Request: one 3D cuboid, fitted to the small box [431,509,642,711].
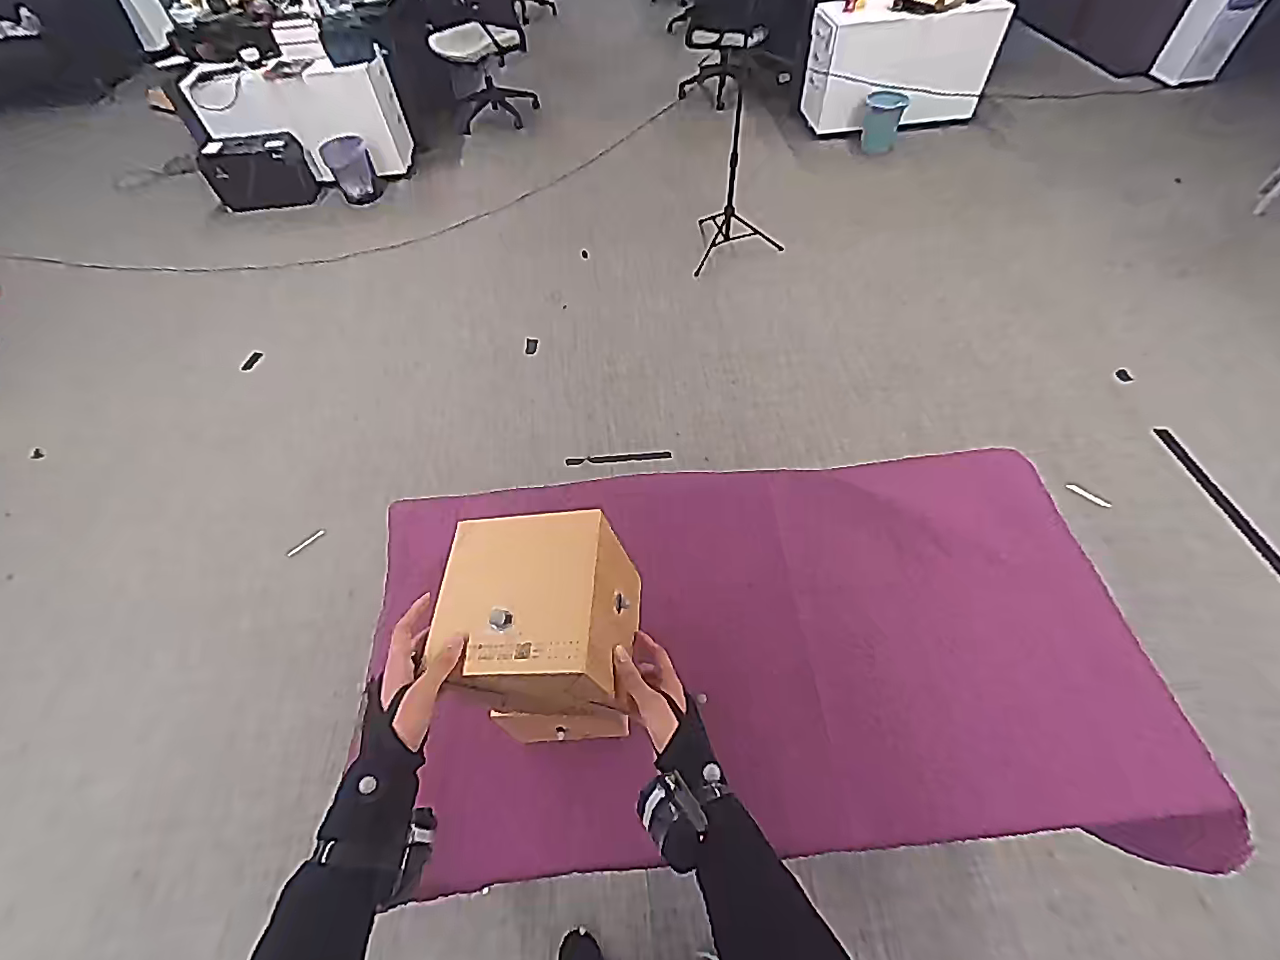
[{"bbox_3d":[-0.101,0.151,0.593,0.168,0.179,0.176,-6,56,14],"label":"small box"}]

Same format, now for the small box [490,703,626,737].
[{"bbox_3d":[-0.107,0.270,0.792,0.168,0.176,0.179,-3,54,0],"label":"small box"}]
